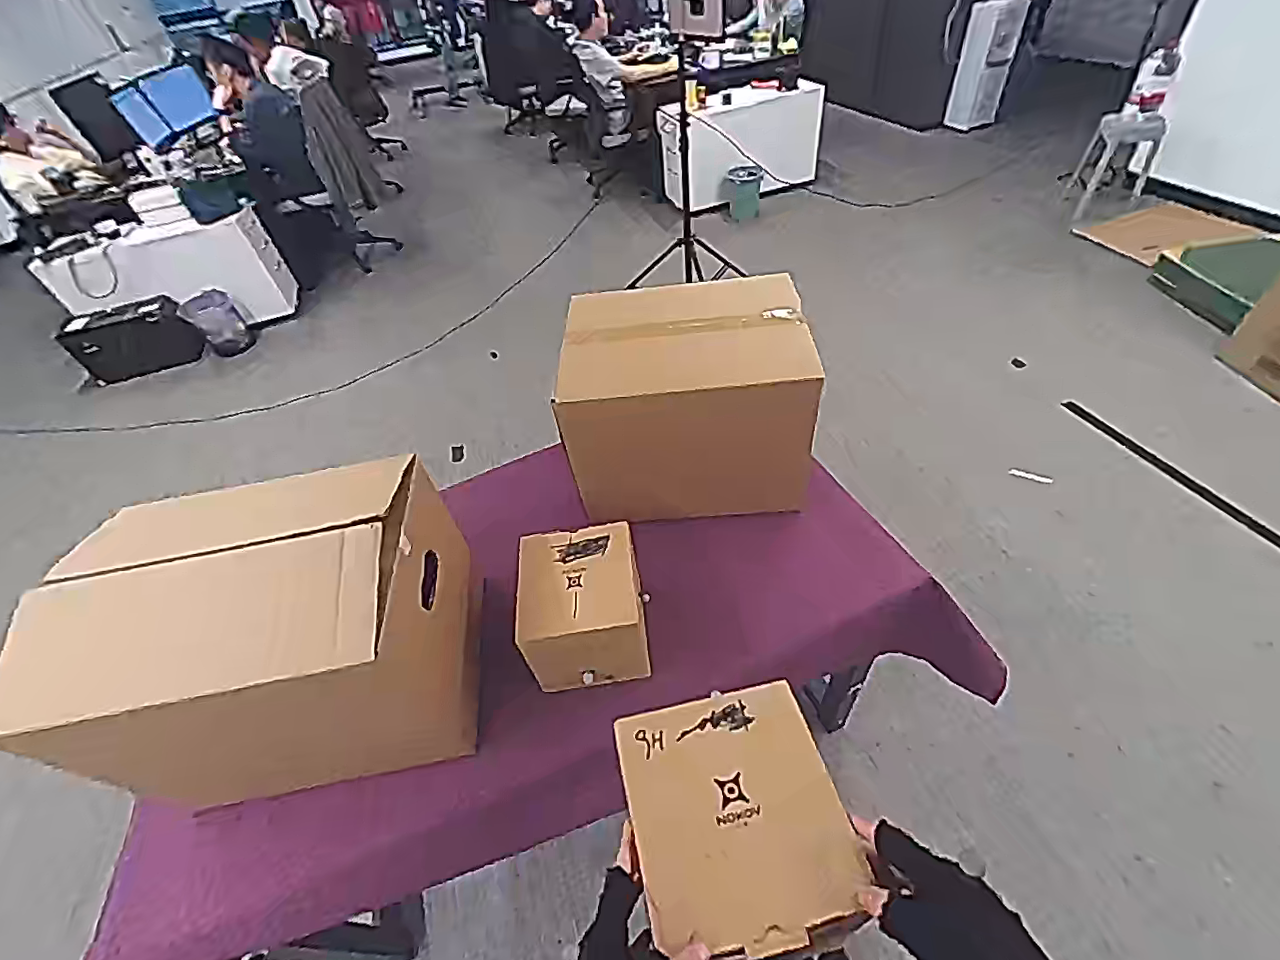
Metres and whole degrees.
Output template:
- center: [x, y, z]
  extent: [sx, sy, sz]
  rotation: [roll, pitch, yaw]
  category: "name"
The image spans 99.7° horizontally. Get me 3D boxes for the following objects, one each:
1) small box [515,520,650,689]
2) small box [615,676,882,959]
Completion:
- center: [-0.080, 0.187, 0.811]
  extent: [0.168, 0.176, 0.179]
  rotation: [-9, 46, 1]
  category: "small box"
- center: [0.078, 0.308, 0.479]
  extent: [0.168, 0.176, 0.179]
  rotation: [-10, 43, -7]
  category: "small box"
